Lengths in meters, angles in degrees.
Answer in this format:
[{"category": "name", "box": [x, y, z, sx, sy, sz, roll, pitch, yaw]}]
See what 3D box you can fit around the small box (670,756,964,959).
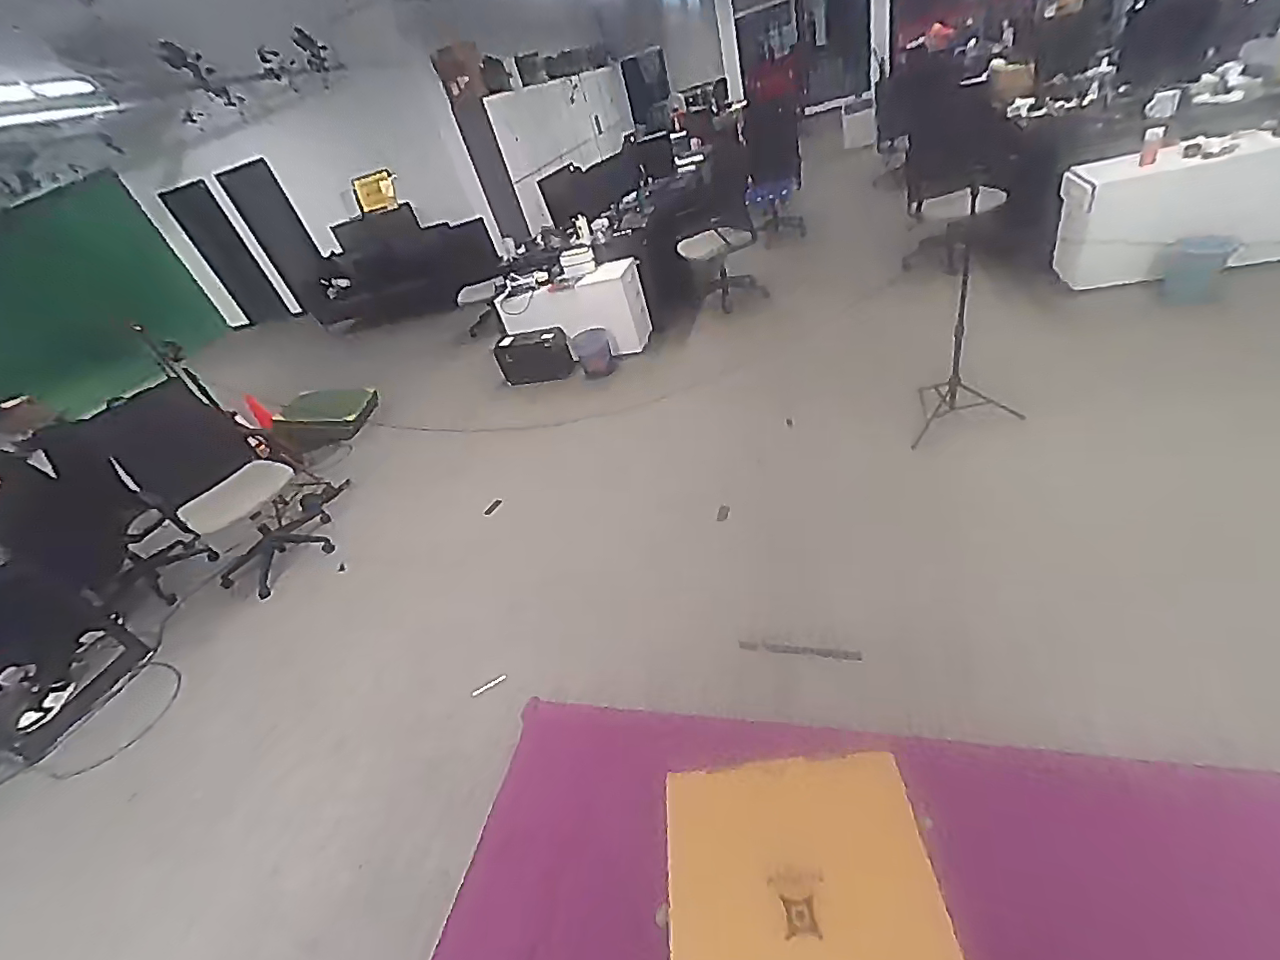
[{"category": "small box", "box": [0.121, 0.324, 0.369, 0.168, 0.176, 0.179, -12, 34, 10]}]
